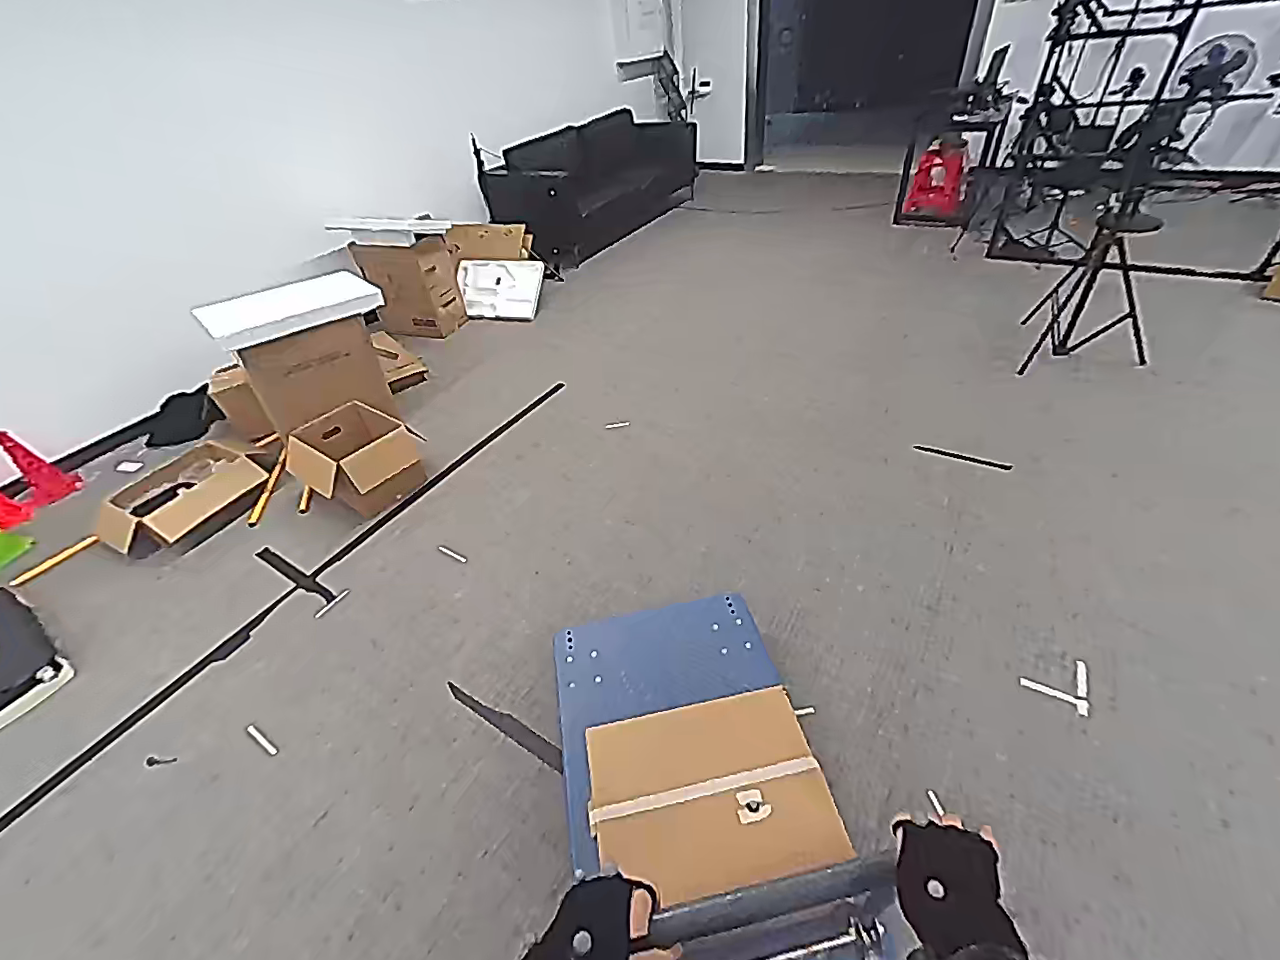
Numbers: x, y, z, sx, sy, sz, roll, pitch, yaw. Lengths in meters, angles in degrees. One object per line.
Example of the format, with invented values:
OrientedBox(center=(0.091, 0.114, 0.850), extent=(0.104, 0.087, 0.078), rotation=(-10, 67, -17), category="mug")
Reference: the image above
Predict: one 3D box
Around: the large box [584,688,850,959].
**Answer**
OrientedBox(center=(0.123, 0.663, 1.043), extent=(0.408, 0.320, 0.320), rotation=(-10, 41, -6), category="large box")
